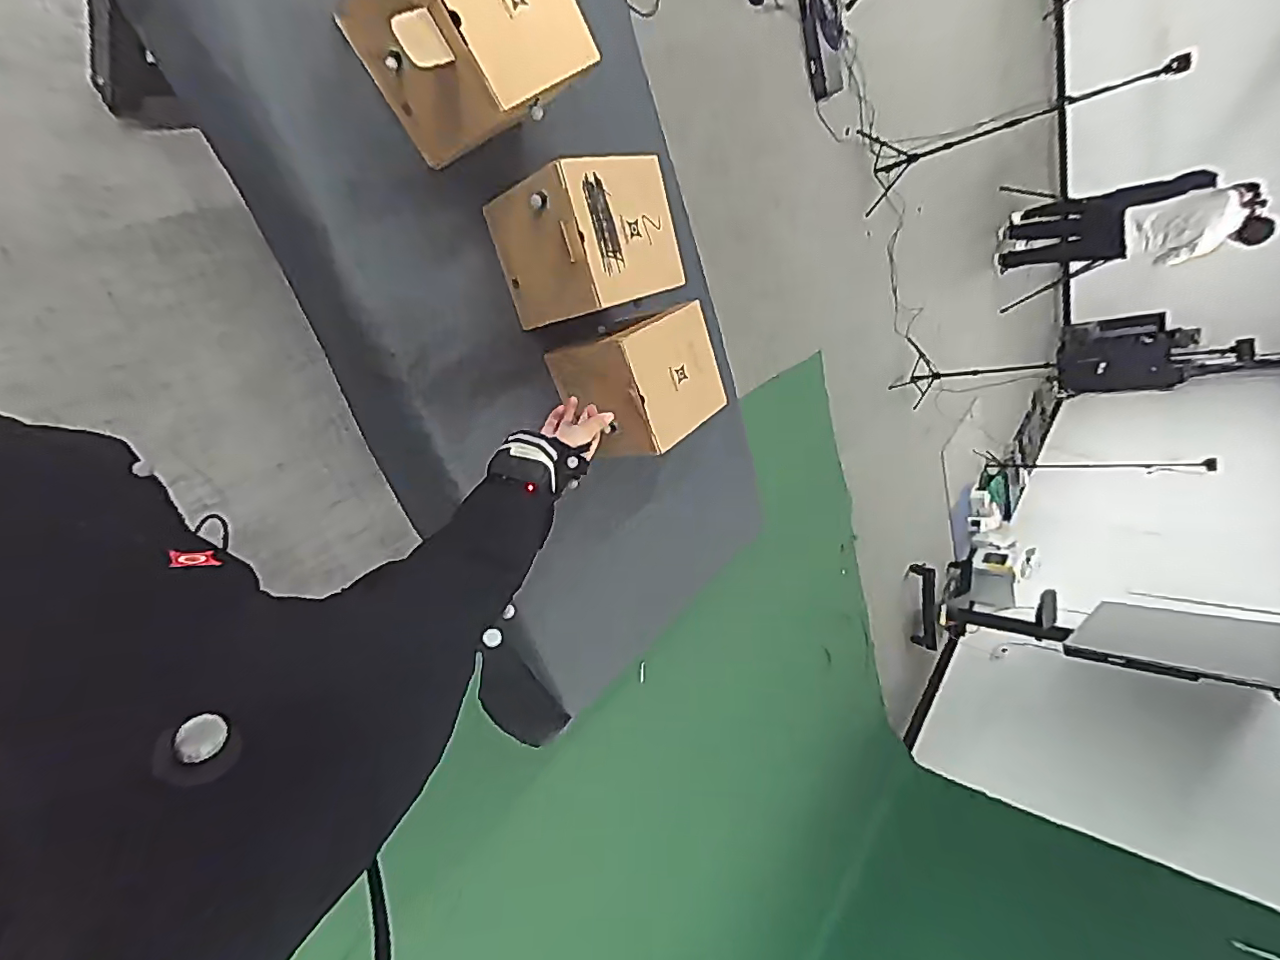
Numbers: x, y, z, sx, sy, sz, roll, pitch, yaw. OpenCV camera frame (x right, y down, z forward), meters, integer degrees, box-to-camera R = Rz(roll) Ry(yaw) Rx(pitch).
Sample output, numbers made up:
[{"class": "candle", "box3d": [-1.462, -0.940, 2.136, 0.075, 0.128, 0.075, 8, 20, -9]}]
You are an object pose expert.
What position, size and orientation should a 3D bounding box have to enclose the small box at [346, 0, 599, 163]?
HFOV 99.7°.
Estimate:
[{"class": "small box", "box3d": [-0.186, -0.495, 0.605, 0.179, 0.176, 0.168, -52, 127, -29]}]
